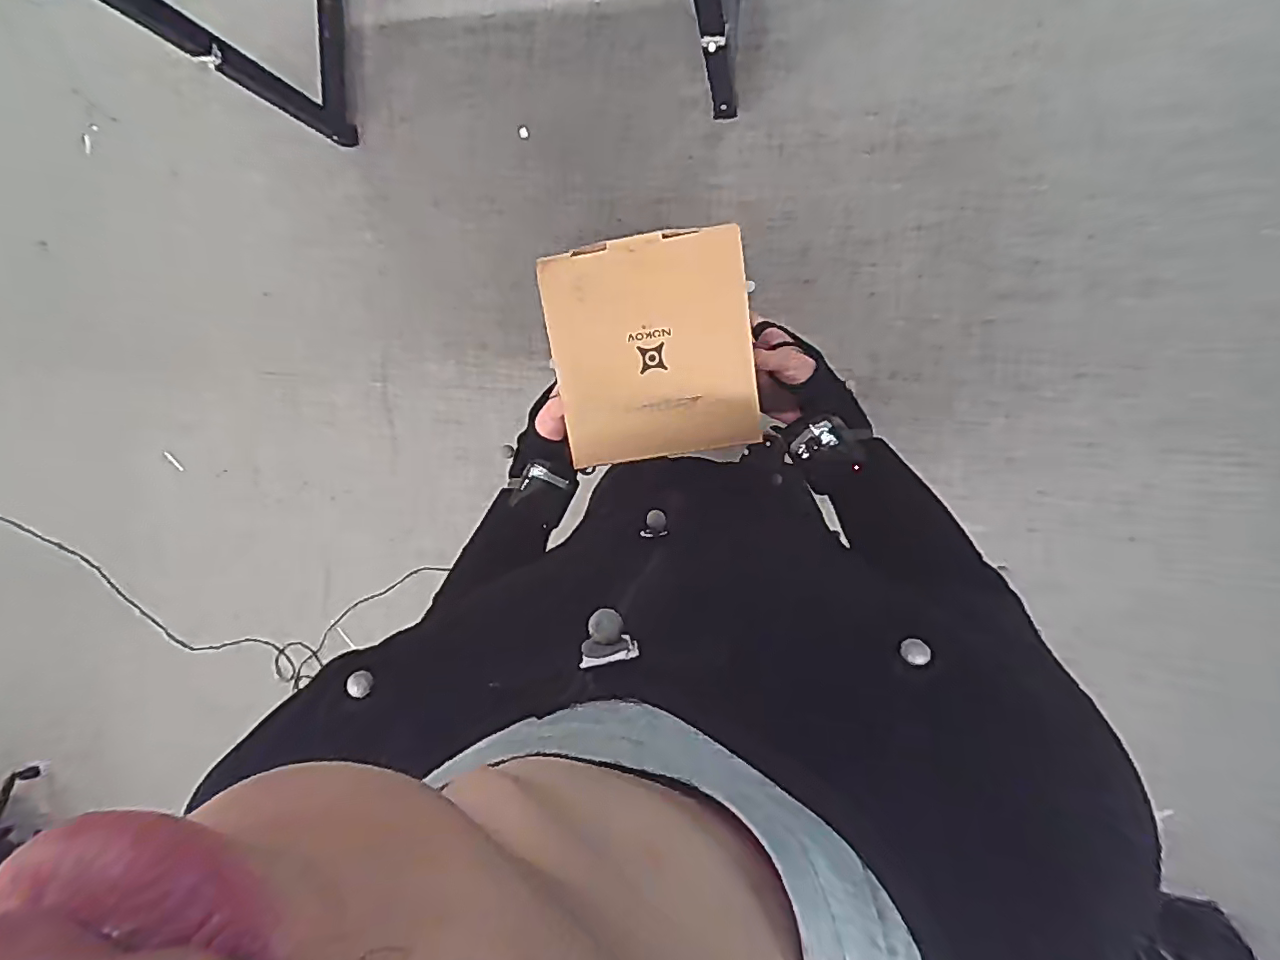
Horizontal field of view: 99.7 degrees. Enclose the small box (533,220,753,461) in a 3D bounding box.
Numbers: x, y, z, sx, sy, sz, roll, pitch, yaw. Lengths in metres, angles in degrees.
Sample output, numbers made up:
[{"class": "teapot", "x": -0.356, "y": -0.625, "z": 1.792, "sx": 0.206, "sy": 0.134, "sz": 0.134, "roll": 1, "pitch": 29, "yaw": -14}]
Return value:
[{"class": "small box", "x": 0.011, "y": -0.129, "z": 0.520, "sx": 0.168, "sy": 0.176, "sz": 0.179, "roll": -7, "pitch": 106, "yaw": 8}]
